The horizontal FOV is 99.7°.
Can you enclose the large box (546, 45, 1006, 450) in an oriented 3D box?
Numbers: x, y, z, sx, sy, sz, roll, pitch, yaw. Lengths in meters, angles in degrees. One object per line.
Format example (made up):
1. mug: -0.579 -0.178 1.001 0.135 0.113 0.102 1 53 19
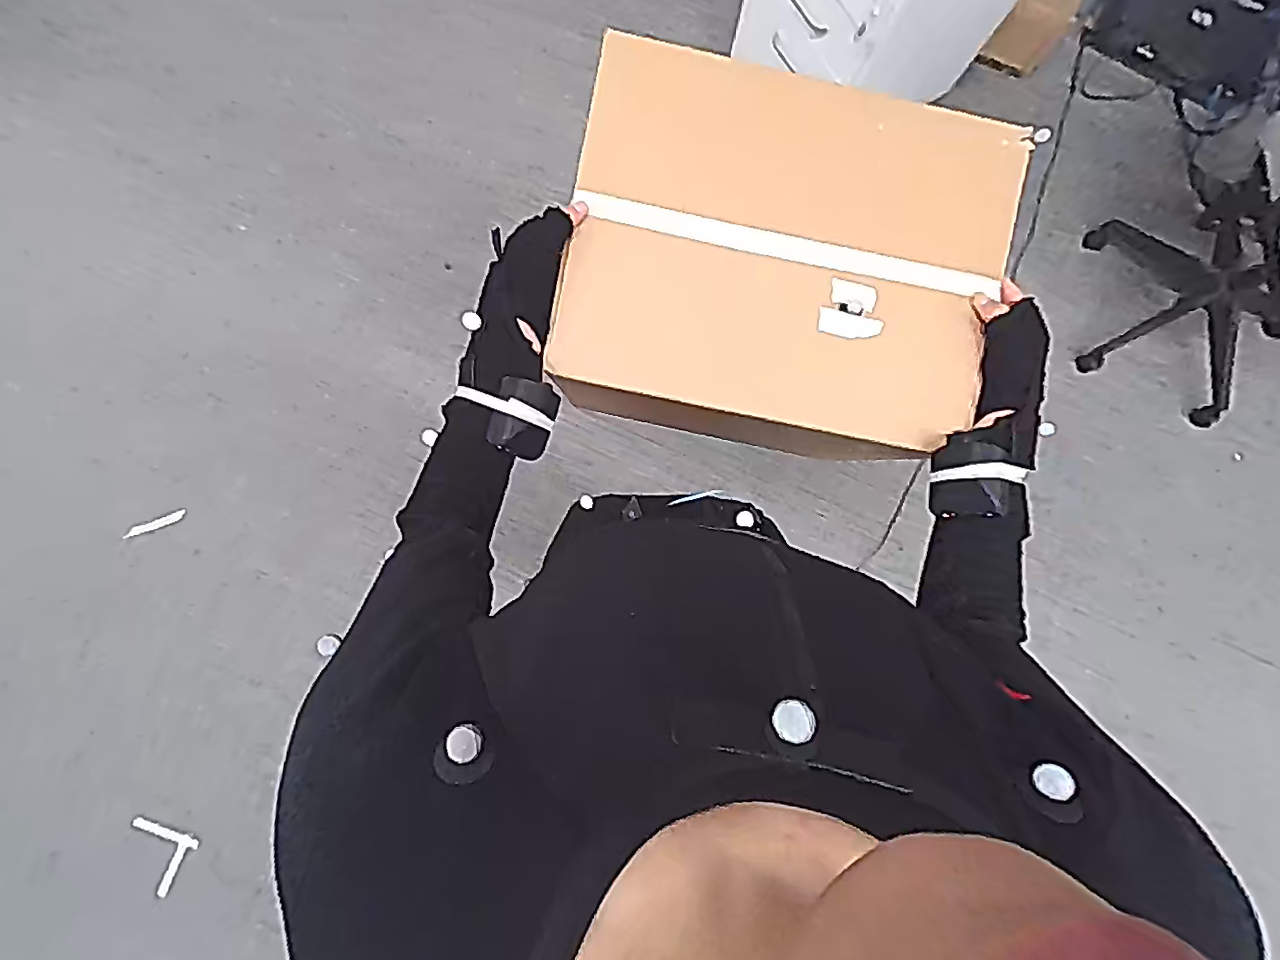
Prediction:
1. large box: 0.123 -0.224 0.660 0.408 0.320 0.320 11 93 -3
